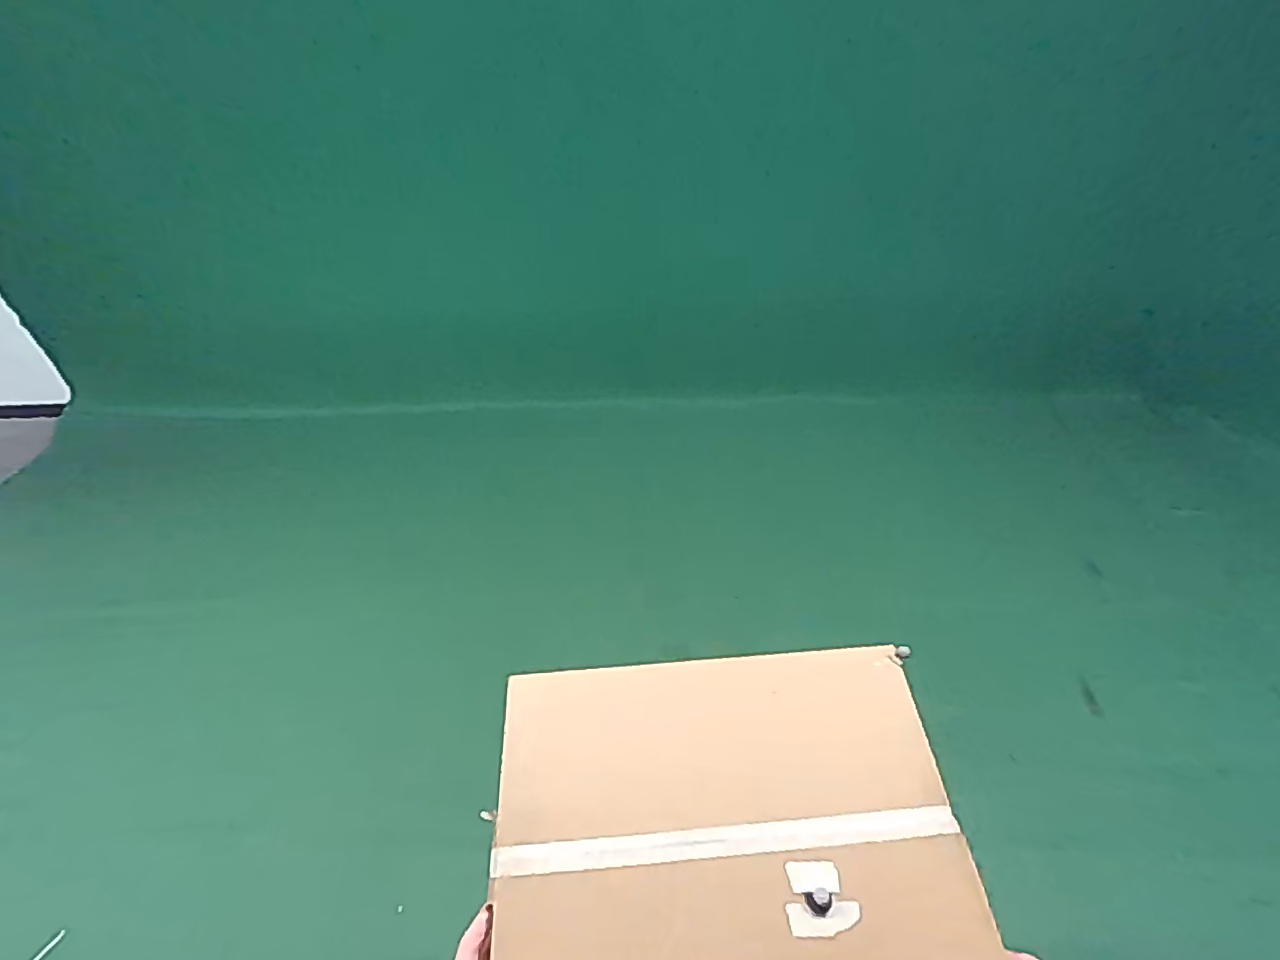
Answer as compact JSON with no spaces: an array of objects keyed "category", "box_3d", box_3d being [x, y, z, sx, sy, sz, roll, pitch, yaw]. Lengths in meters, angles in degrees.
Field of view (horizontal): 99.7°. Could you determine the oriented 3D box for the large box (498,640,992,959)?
[{"category":"large box","box_3d":[0.075,0.400,0.607,0.408,0.320,0.320,-4,55,-2]}]
